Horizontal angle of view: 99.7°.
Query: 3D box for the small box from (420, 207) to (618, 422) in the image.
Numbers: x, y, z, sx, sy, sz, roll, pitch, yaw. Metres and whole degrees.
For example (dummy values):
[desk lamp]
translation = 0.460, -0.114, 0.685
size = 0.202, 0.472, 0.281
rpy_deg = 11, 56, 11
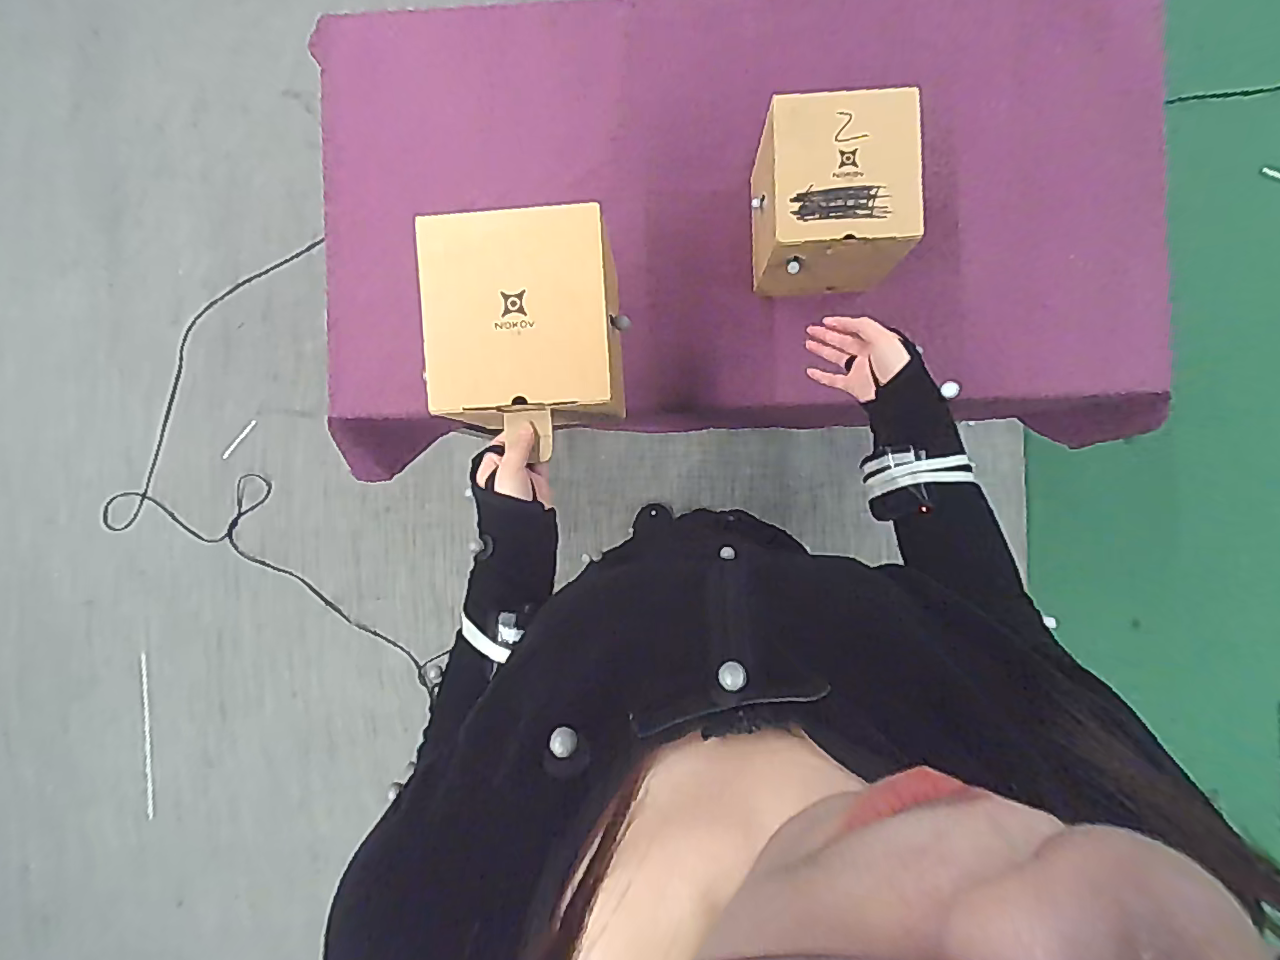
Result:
[small box]
translation = -0.113, -0.159, 0.570
size = 0.168, 0.176, 0.179
rpy_deg = -3, 92, 2
